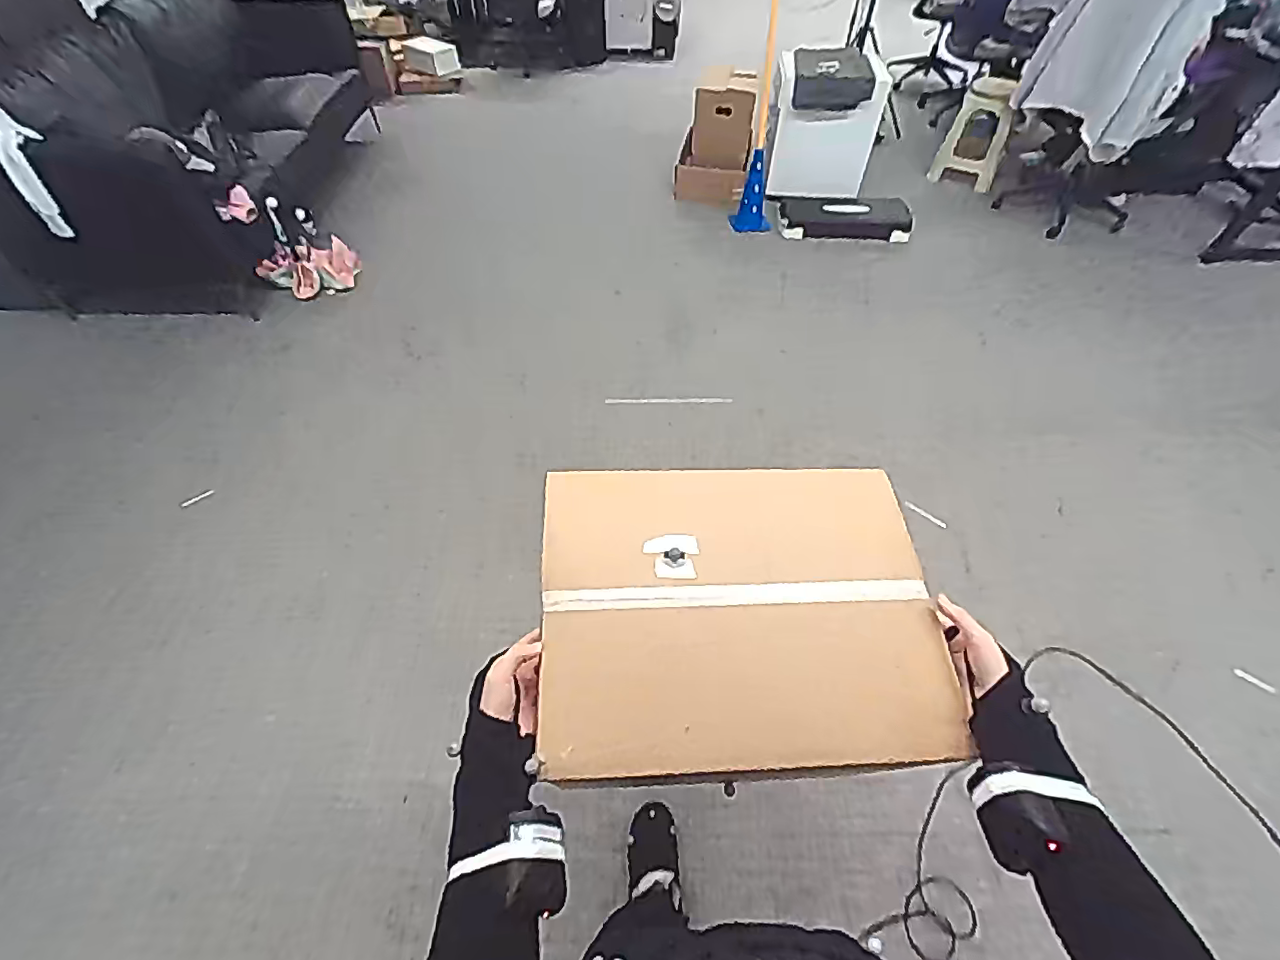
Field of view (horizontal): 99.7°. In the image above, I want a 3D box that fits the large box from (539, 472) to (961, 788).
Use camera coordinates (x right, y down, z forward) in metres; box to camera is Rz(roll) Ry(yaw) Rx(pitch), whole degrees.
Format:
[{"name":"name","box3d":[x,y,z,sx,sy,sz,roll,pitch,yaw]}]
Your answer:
[{"name":"large box","box3d":[0.093,0.205,0.697,0.408,0.320,0.320,-2,58,-4]}]
